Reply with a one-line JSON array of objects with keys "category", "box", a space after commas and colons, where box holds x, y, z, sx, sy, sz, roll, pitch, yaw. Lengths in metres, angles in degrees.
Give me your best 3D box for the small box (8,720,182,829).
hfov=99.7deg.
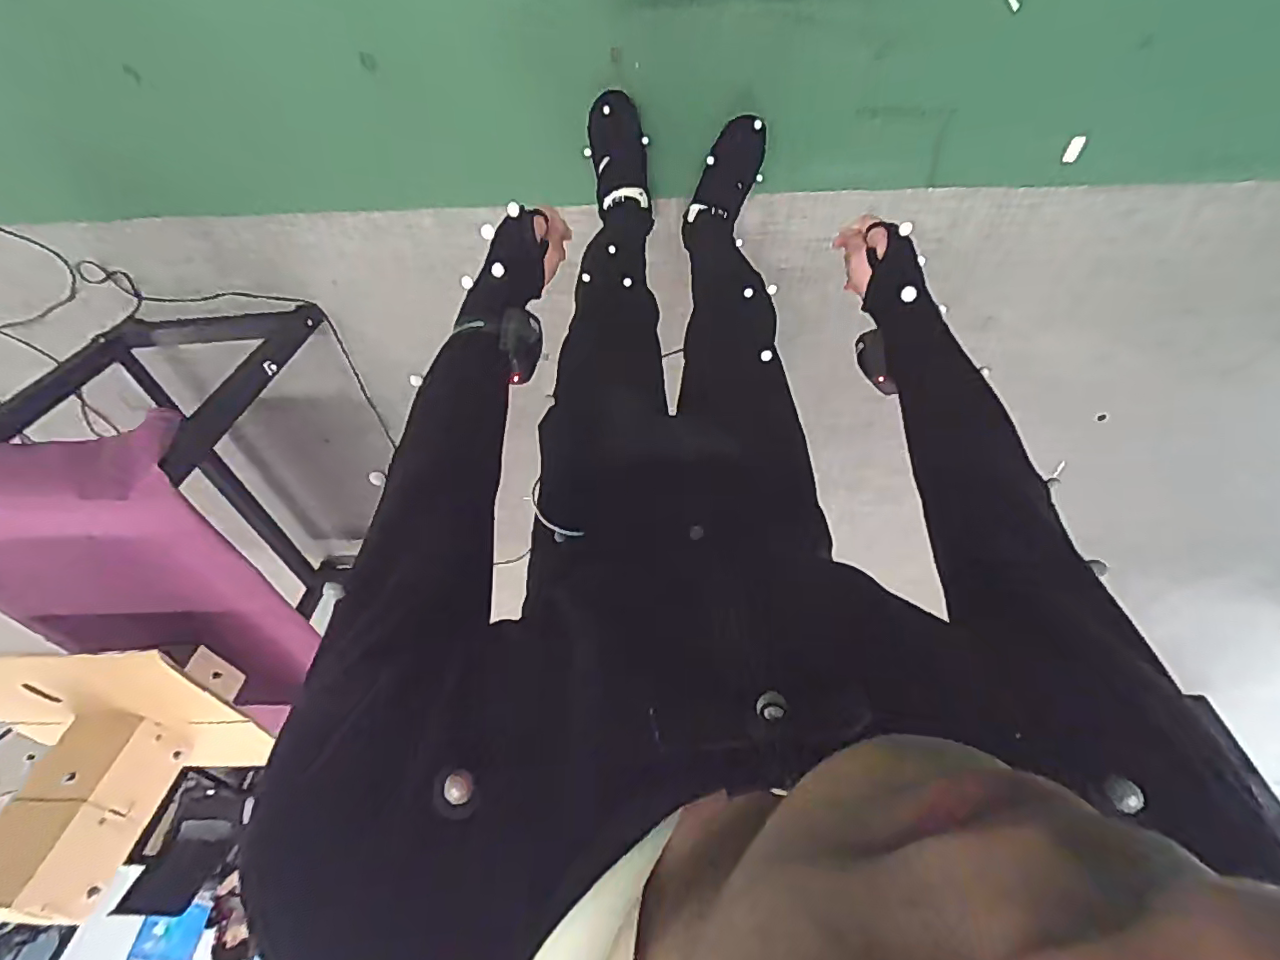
[{"category": "small box", "box": [-1.148, 0.632, 1.166, 0.179, 0.176, 0.168, -3, 132, 6]}]
